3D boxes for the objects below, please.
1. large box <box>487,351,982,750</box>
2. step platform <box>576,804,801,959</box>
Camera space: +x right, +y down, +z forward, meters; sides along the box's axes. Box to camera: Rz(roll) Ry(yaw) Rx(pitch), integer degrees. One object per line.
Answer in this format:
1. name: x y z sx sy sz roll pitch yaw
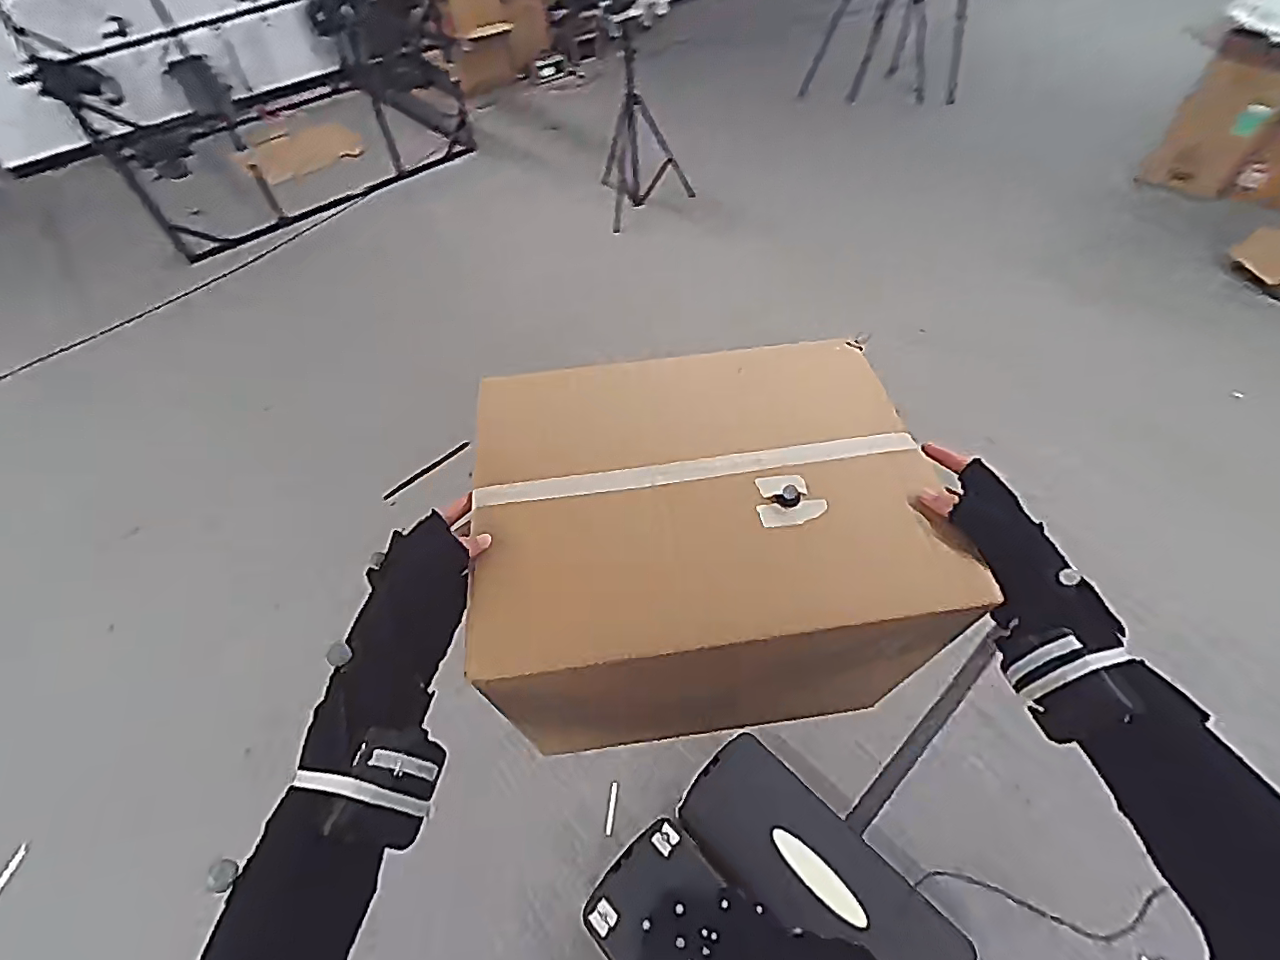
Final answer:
1. large box: 0.061 0.088 0.623 0.408 0.320 0.320 -7 54 -3
2. step platform: 0.173 1.061 1.153 0.684 0.204 0.286 36 63 28
